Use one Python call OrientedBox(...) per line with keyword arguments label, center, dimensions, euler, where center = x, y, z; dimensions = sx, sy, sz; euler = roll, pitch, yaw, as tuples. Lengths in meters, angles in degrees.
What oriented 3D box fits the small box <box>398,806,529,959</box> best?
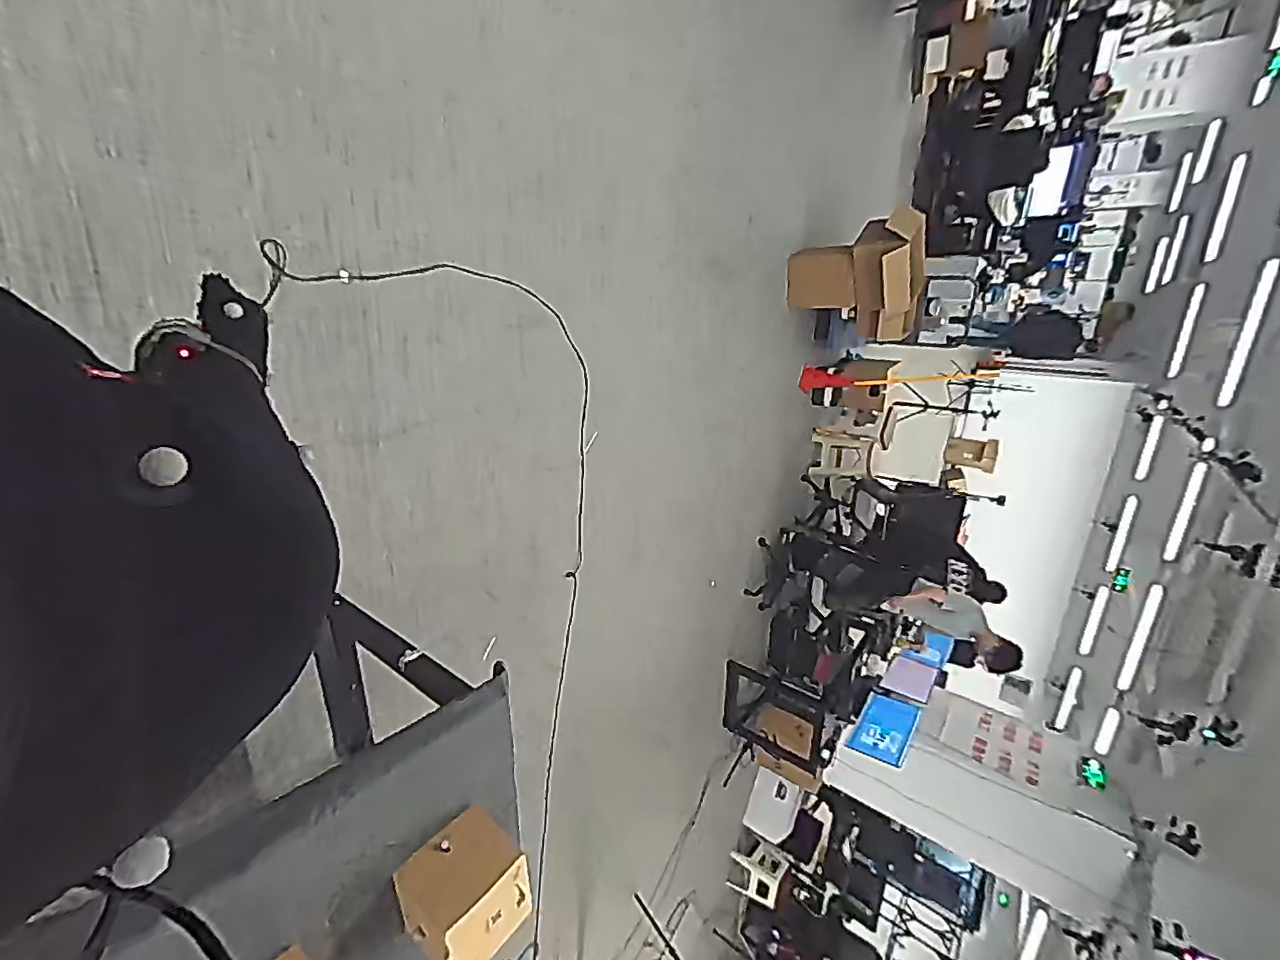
OrientedBox(label="small box", center=(-0.337, 0.777, 1.026), dimensions=(0.179, 0.176, 0.168), euler=(-25, 121, -47))
